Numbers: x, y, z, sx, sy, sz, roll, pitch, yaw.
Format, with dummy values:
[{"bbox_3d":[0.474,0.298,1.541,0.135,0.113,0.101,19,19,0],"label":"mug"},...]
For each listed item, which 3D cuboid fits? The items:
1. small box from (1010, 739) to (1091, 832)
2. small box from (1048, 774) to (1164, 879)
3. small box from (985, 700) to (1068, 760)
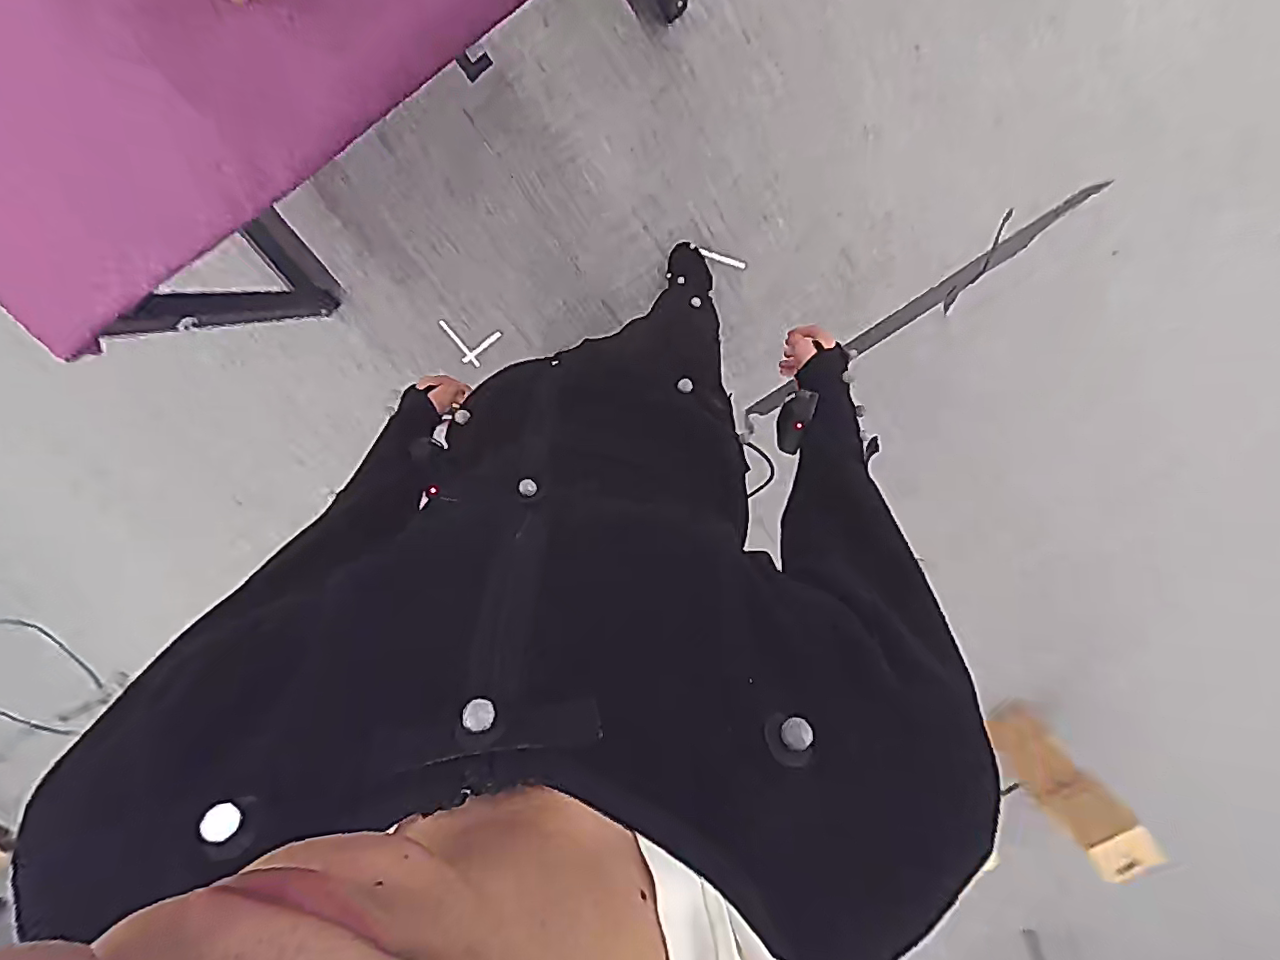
[{"bbox_3d":[1.361,0.982,1.751,0.179,0.176,0.168,-39,105,12],"label":"small box"},{"bbox_3d":[1.360,1.011,1.587,0.168,0.176,0.179,-36,105,10],"label":"small box"},{"bbox_3d":[1.368,0.917,1.902,0.168,0.176,0.179,-38,105,12],"label":"small box"}]
